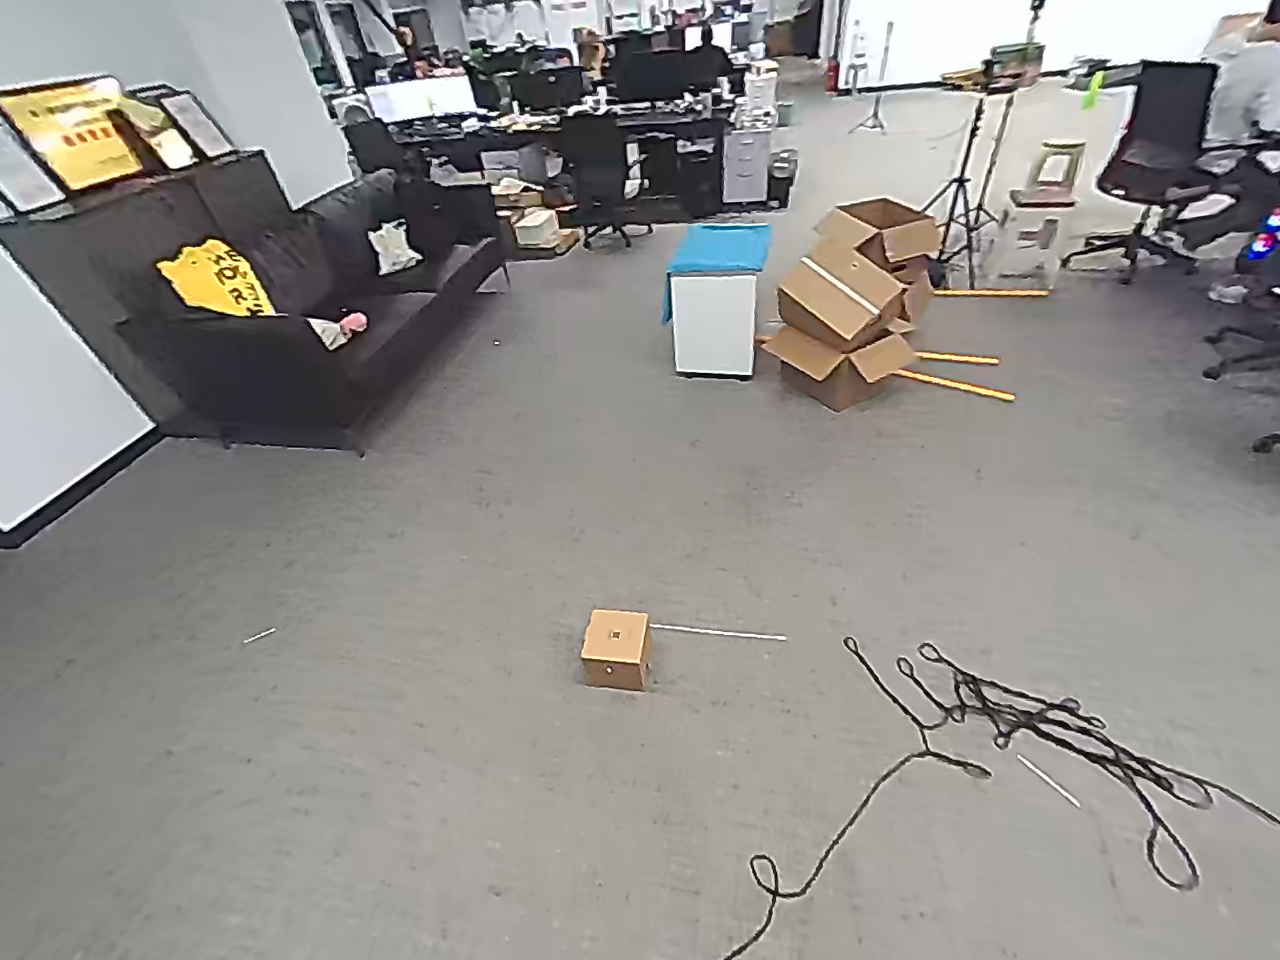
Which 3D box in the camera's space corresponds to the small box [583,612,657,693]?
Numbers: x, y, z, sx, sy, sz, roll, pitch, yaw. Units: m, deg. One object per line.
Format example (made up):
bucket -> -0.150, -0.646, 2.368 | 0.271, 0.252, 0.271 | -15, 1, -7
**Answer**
small box -> -0.053, 0.517, 1.619 | 0.179, 0.176, 0.168 | 2, 42, 12
